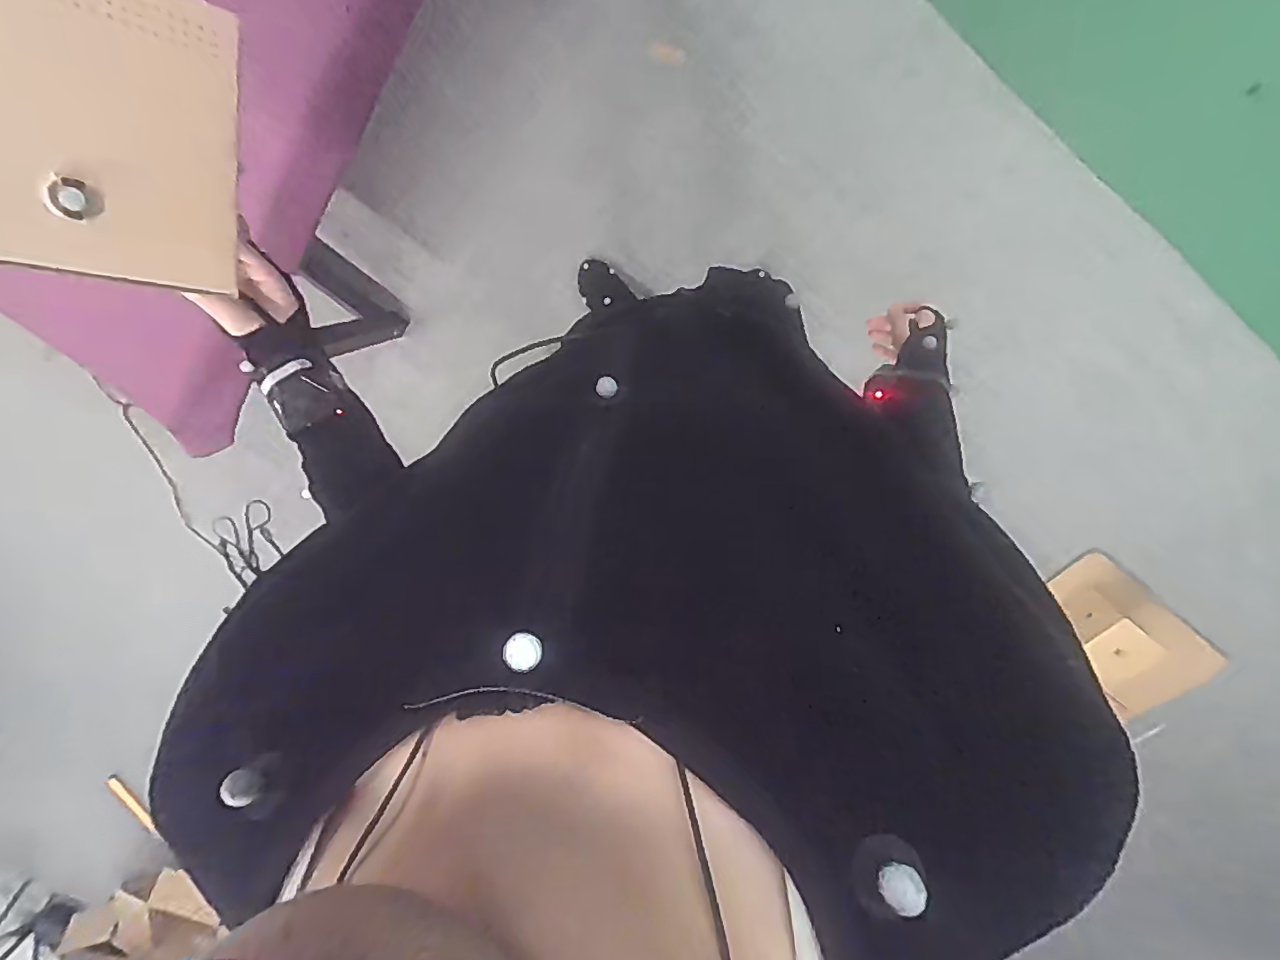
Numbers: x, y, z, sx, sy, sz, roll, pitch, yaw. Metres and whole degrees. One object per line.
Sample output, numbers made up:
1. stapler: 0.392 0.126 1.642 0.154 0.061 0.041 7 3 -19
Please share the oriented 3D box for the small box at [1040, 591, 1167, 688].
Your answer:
1. small box: 1.290 0.439 1.522 0.179 0.176 0.168 34 112 -9
